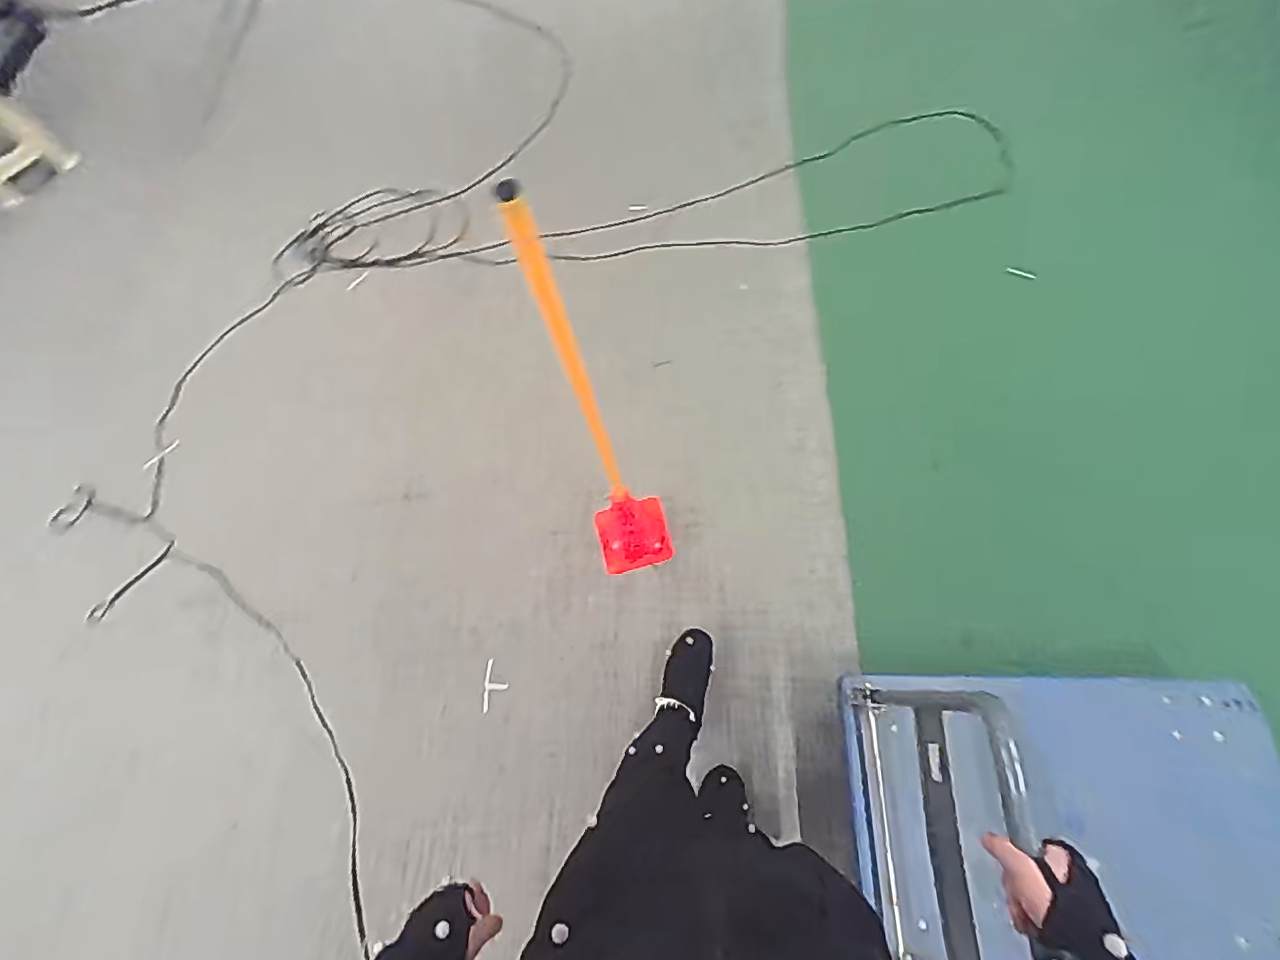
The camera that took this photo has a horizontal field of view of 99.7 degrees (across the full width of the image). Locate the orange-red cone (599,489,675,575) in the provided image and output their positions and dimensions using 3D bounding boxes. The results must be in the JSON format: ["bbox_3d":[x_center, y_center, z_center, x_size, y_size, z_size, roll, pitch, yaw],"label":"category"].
[{"bbox_3d":[-0.025,0.103,1.415,0.198,0.360,0.199,-14,66,-1],"label":"orange-red cone"}]
